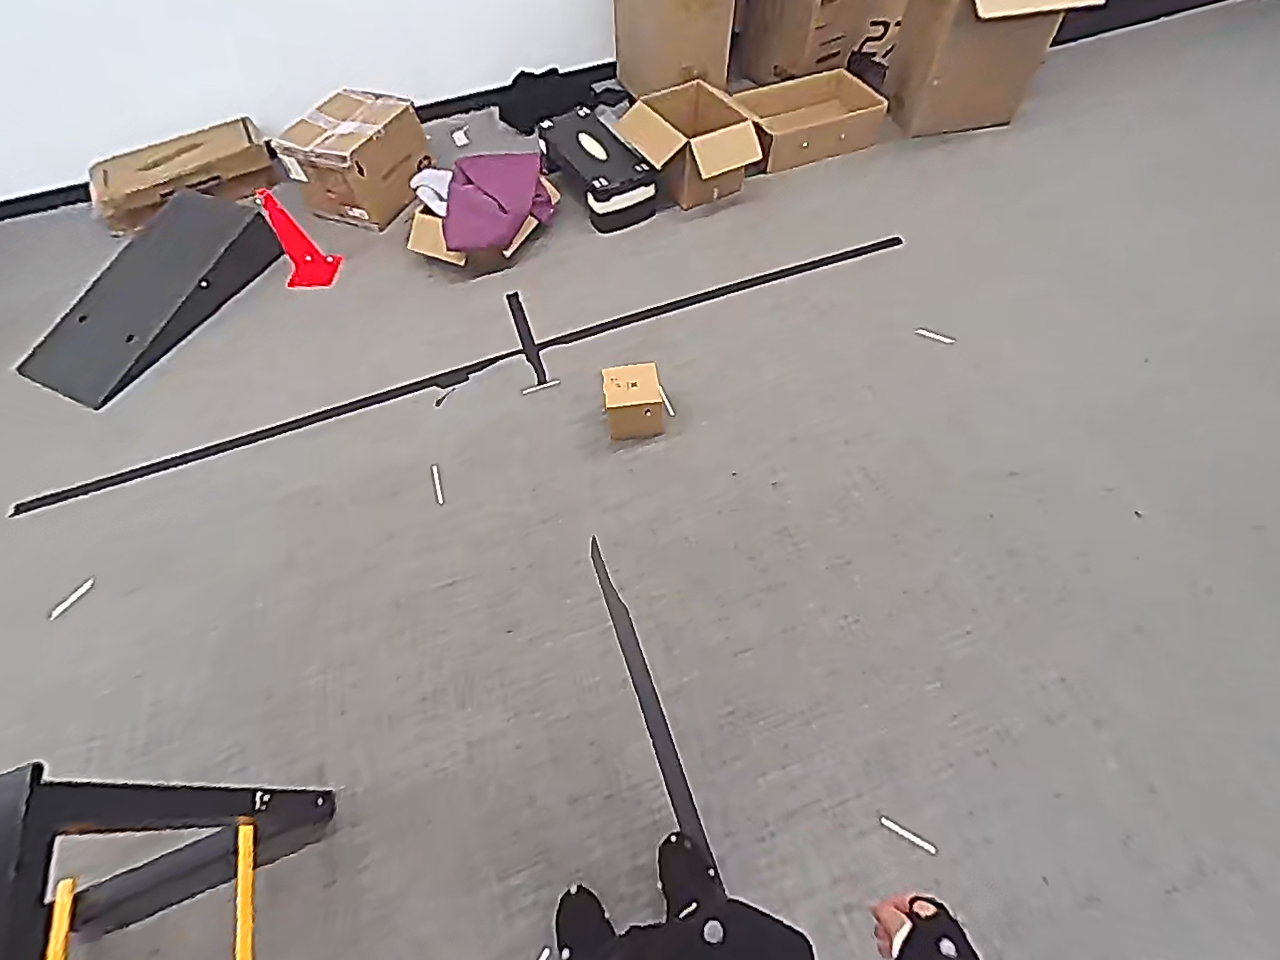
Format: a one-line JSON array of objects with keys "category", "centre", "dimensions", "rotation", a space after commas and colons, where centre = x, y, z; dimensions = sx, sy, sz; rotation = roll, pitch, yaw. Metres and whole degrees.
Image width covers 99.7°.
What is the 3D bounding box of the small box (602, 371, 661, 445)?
[{"category": "small box", "centre": [-0.027, -0.234, 1.775], "dimensions": [0.179, 0.176, 0.168], "rotation": [-7, 58, -2]}]
